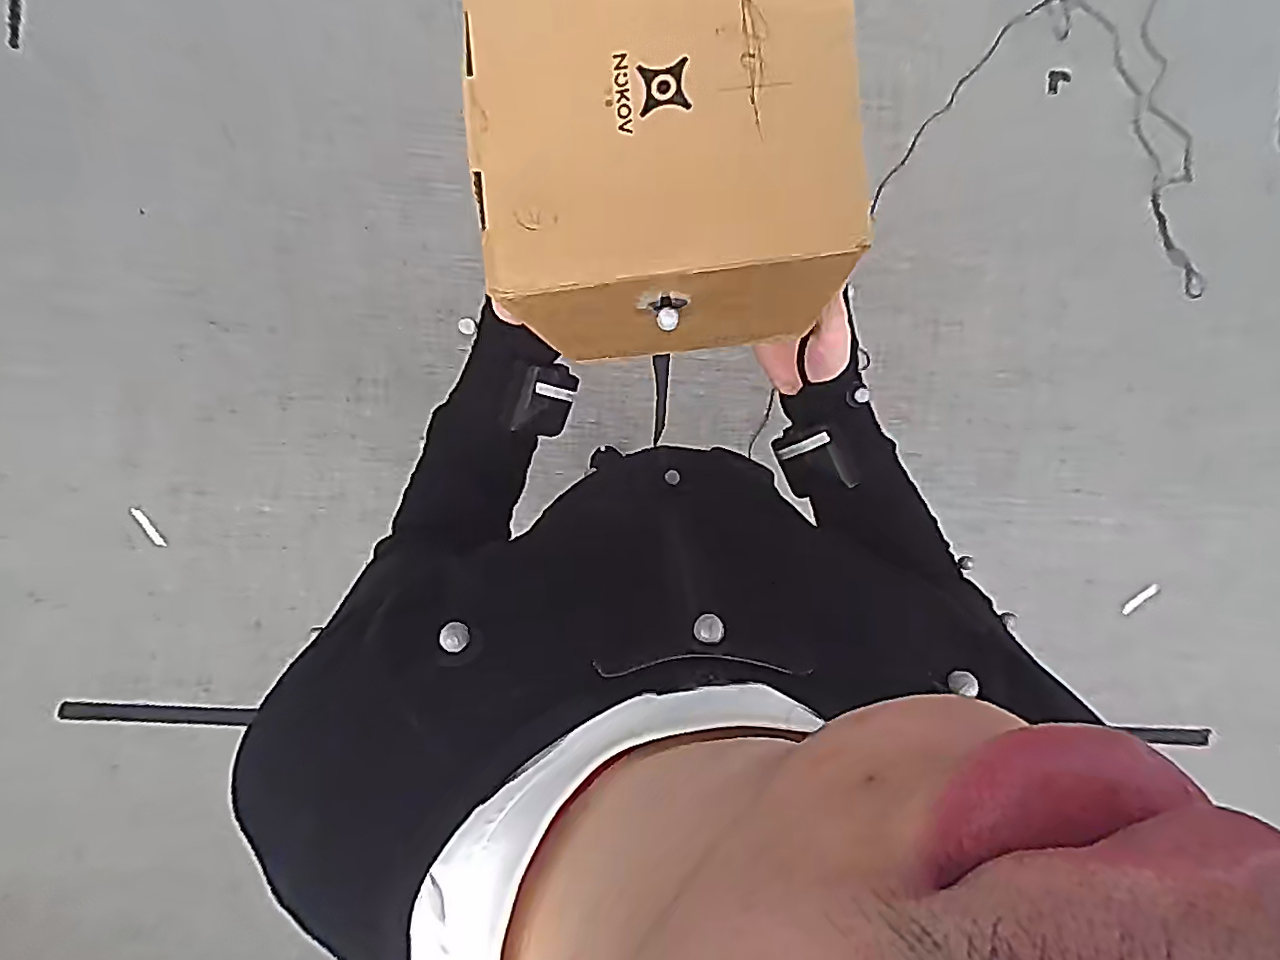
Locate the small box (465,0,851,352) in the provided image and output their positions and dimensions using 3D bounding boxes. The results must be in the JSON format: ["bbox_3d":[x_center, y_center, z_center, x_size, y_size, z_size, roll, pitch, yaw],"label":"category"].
[{"bbox_3d":[0.015,-0.181,0.332,0.179,0.176,0.168,-4,92,6],"label":"small box"}]
